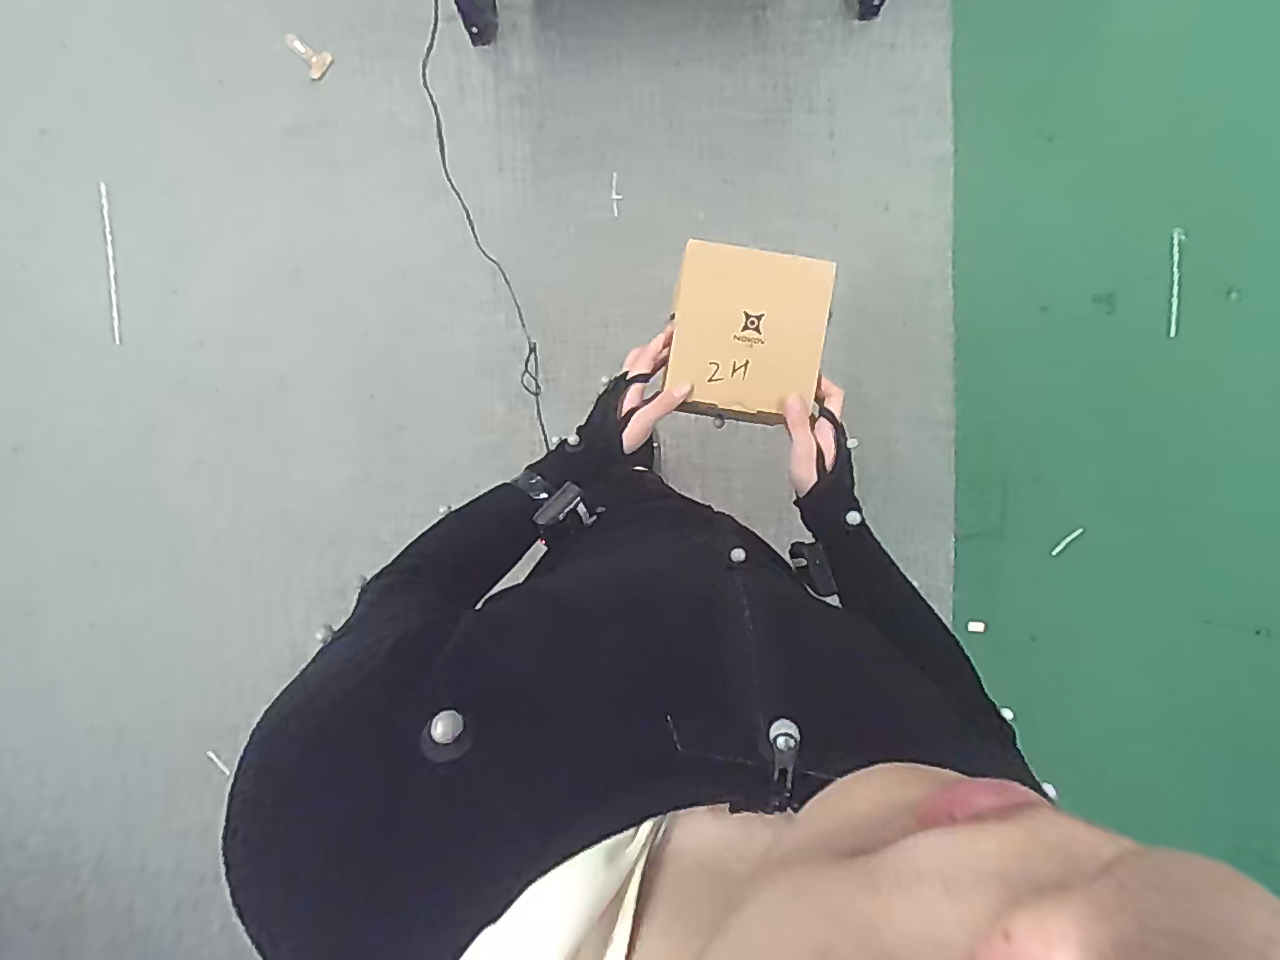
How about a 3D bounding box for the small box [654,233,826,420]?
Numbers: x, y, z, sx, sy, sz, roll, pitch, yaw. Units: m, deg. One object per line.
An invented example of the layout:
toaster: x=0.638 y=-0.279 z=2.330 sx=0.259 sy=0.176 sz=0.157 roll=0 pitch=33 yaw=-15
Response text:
small box: x=0.110 y=-0.175 z=0.671 sx=0.168 sy=0.176 sz=0.179 roll=9 pitch=94 yaw=0
